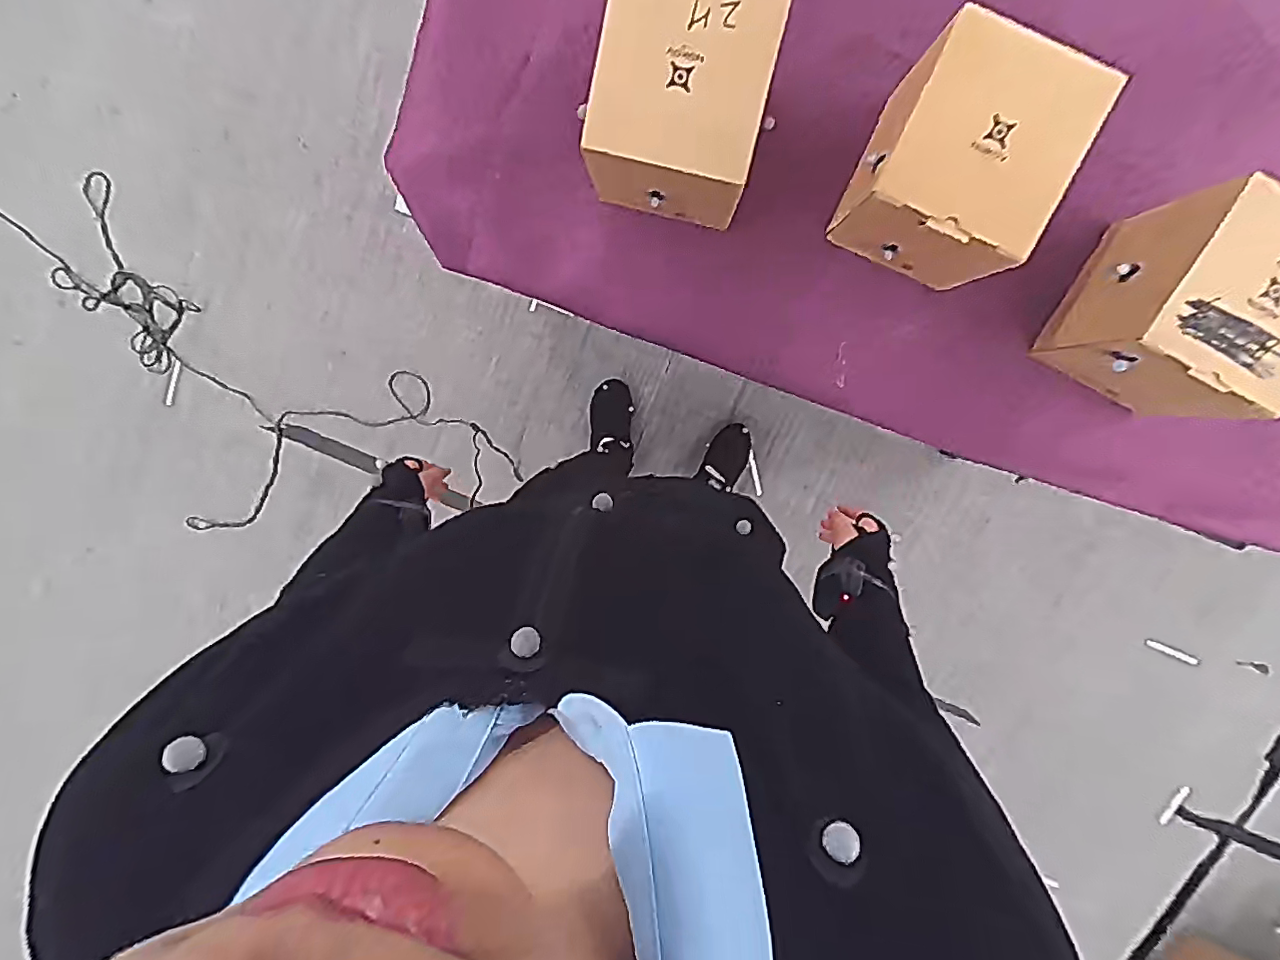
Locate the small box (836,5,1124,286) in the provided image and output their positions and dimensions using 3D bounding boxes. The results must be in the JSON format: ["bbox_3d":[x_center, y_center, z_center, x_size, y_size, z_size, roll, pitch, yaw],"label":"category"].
[{"bbox_3d":[0.338,-0.335,0.583,0.168,0.176,0.179,24,101,-1],"label":"small box"}]

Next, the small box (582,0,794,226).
[{"bbox_3d":[0.047,-0.398,0.583,0.168,0.176,0.179,14,101,0],"label":"small box"}]
